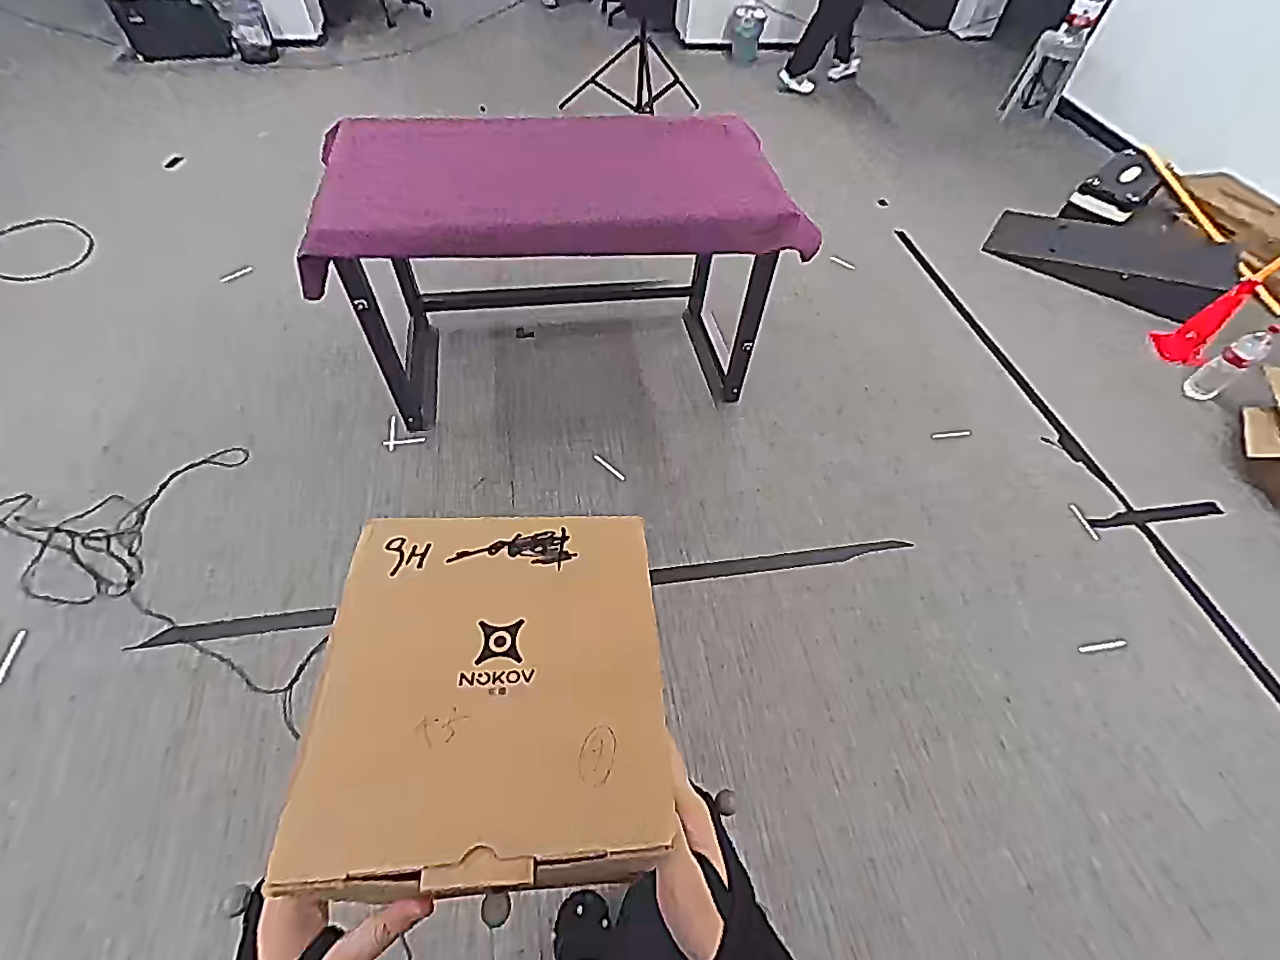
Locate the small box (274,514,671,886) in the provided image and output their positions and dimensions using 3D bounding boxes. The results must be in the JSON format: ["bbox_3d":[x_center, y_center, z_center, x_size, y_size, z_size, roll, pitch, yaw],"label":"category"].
[{"bbox_3d":[-0.080,0.139,0.336,0.168,0.176,0.179,1,51,-8],"label":"small box"}]
